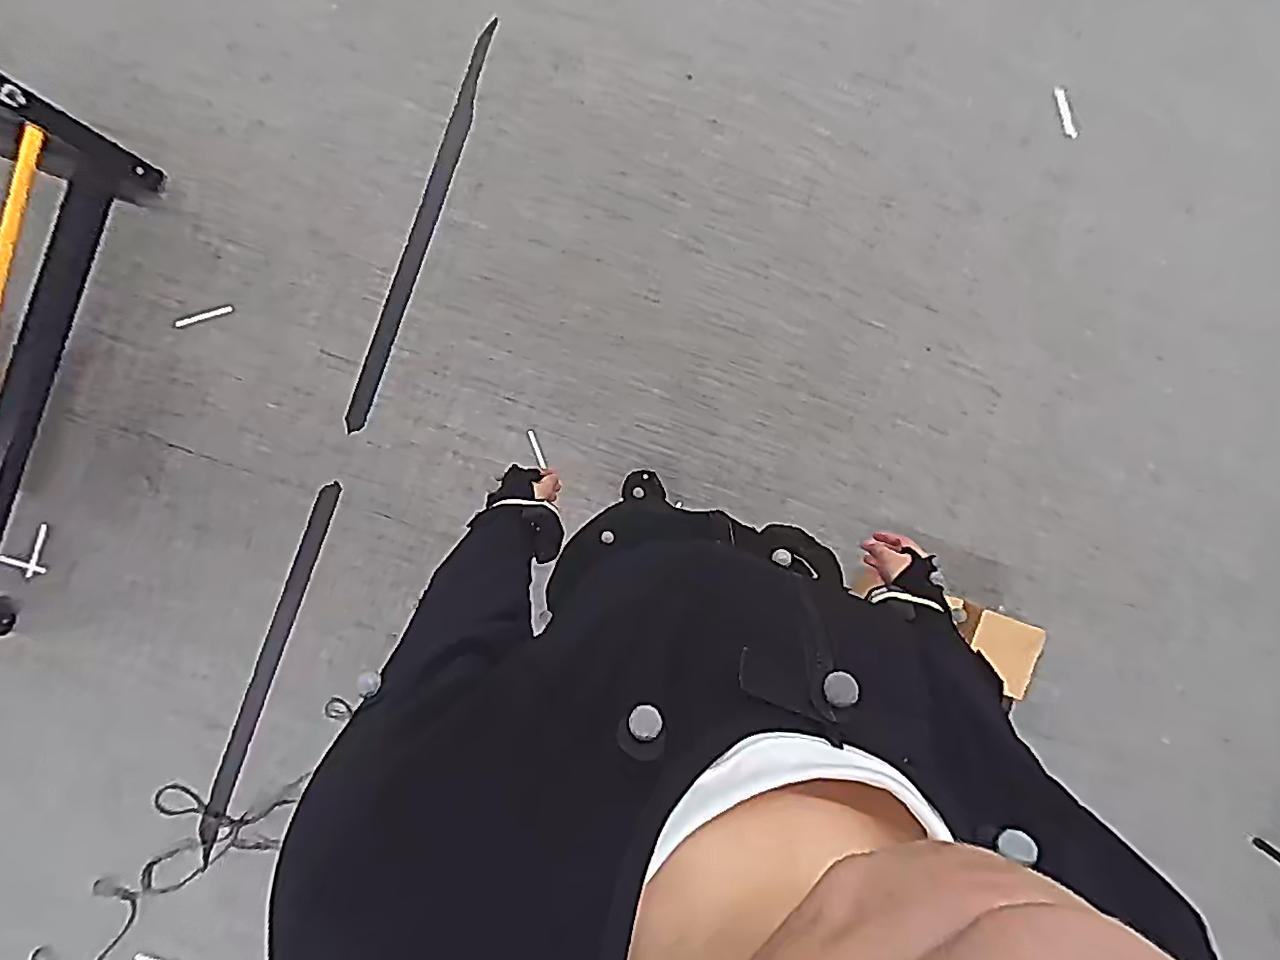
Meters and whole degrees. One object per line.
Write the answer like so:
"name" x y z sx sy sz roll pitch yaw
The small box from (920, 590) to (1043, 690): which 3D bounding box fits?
"small box" 0.843 0.398 1.344 0.168 0.176 0.179 20 92 -4
